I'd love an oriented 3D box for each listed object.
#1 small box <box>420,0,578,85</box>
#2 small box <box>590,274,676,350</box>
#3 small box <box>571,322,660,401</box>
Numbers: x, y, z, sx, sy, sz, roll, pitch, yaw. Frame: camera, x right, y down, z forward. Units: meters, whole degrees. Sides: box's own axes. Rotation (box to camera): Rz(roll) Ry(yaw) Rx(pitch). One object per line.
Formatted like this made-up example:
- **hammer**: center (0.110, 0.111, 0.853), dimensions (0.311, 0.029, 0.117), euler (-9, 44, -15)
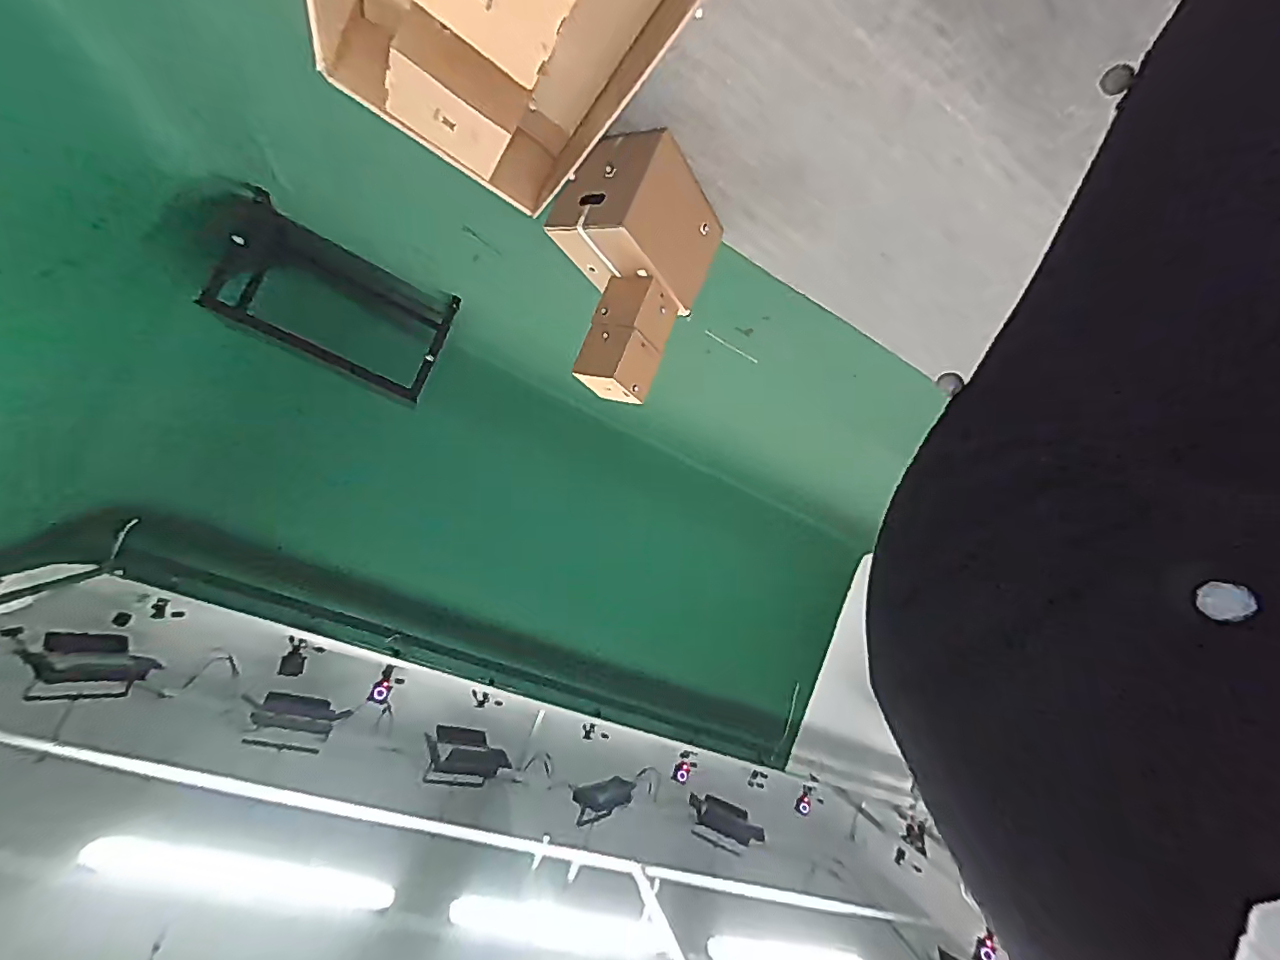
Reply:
- **small box**: center (-0.136, -0.591, 0.572), dimensions (0.179, 0.176, 0.168), euler (24, 173, -27)
- **small box**: center (-0.017, -0.514, 1.656), dimensions (0.179, 0.176, 0.168), euler (15, 171, 35)
- **small box**: center (-0.068, -0.360, 1.629), dimensions (0.179, 0.176, 0.168), euler (17, 171, 36)
